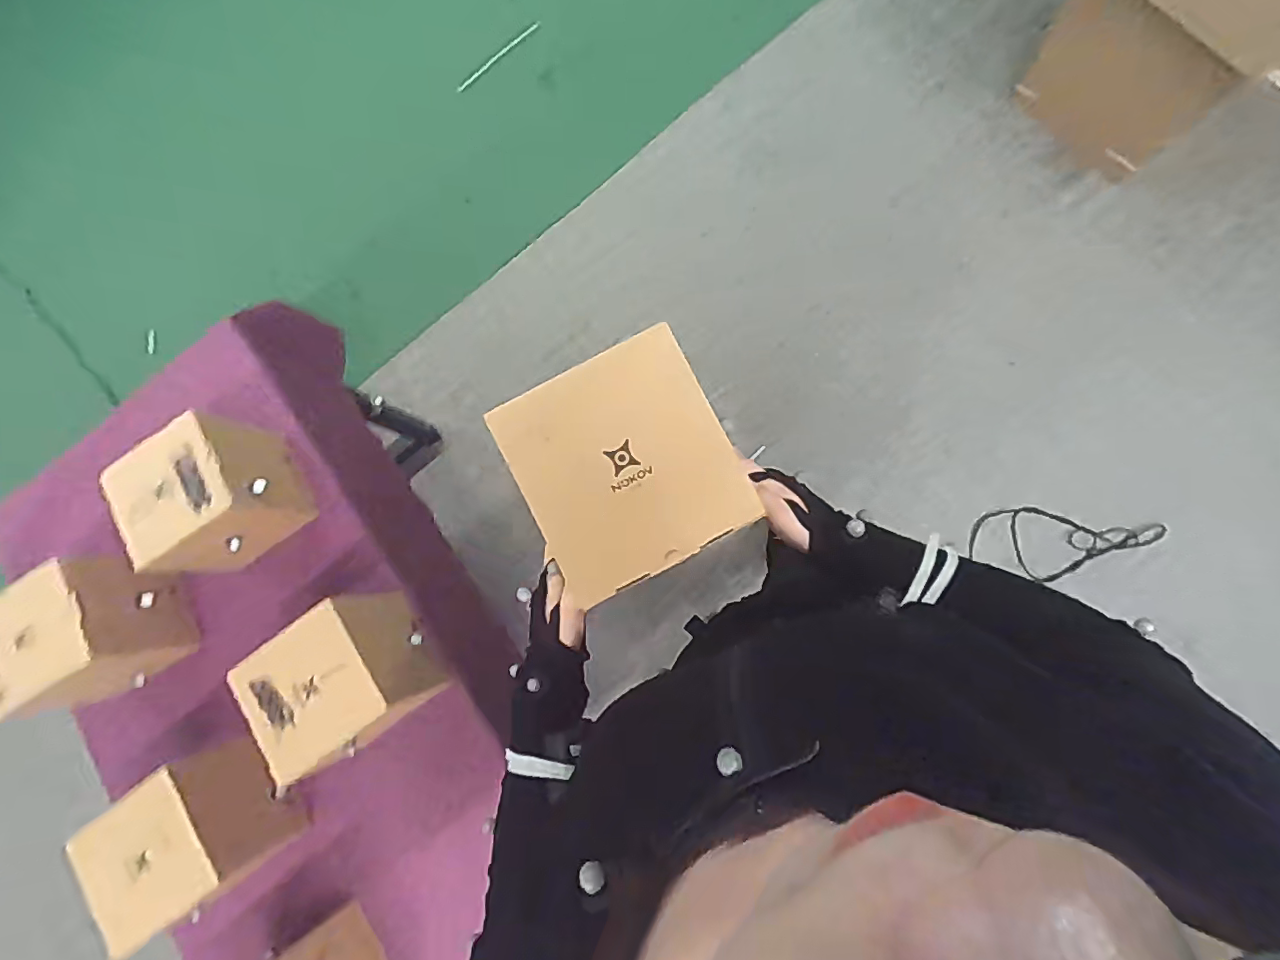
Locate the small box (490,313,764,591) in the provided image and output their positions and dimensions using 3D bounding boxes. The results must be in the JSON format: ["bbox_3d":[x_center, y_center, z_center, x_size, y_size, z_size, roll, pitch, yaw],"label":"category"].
[{"bbox_3d":[-0.011,-0.018,0.505,0.168,0.176,0.179,-27,87,0],"label":"small box"}]

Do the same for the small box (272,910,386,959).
[{"bbox_3d":[-0.445,0.716,0.704,0.168,0.176,0.179,-38,77,2],"label":"small box"}]

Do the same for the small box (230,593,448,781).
[{"bbox_3d":[-0.414,0.279,0.768,0.179,0.176,0.168,-37,78,2],"label":"small box"}]

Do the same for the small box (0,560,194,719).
[{"bbox_3d":[-0.853,0.238,0.849,0.179,0.176,0.168,-32,77,3],"label":"small box"}]

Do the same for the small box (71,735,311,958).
[{"bbox_3d":[-0.624,0.501,0.771,0.179,0.176,0.168,-38,78,1],"label":"small box"}]
